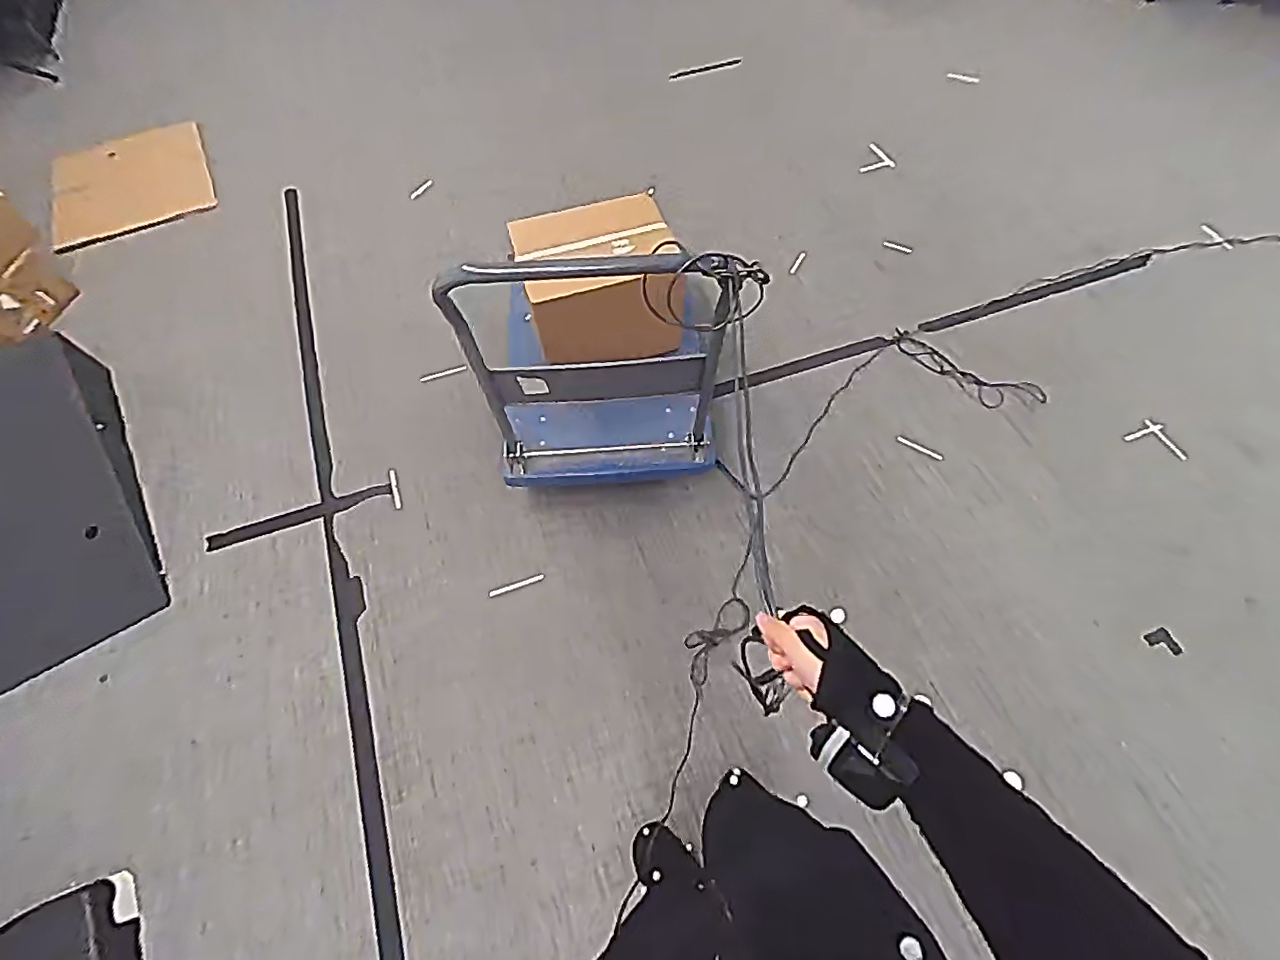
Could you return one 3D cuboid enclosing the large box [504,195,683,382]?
[{"bbox_3d":[-0.125,-0.530,1.519,0.408,0.320,0.320,-17,64,-8],"label":"large box"}]
